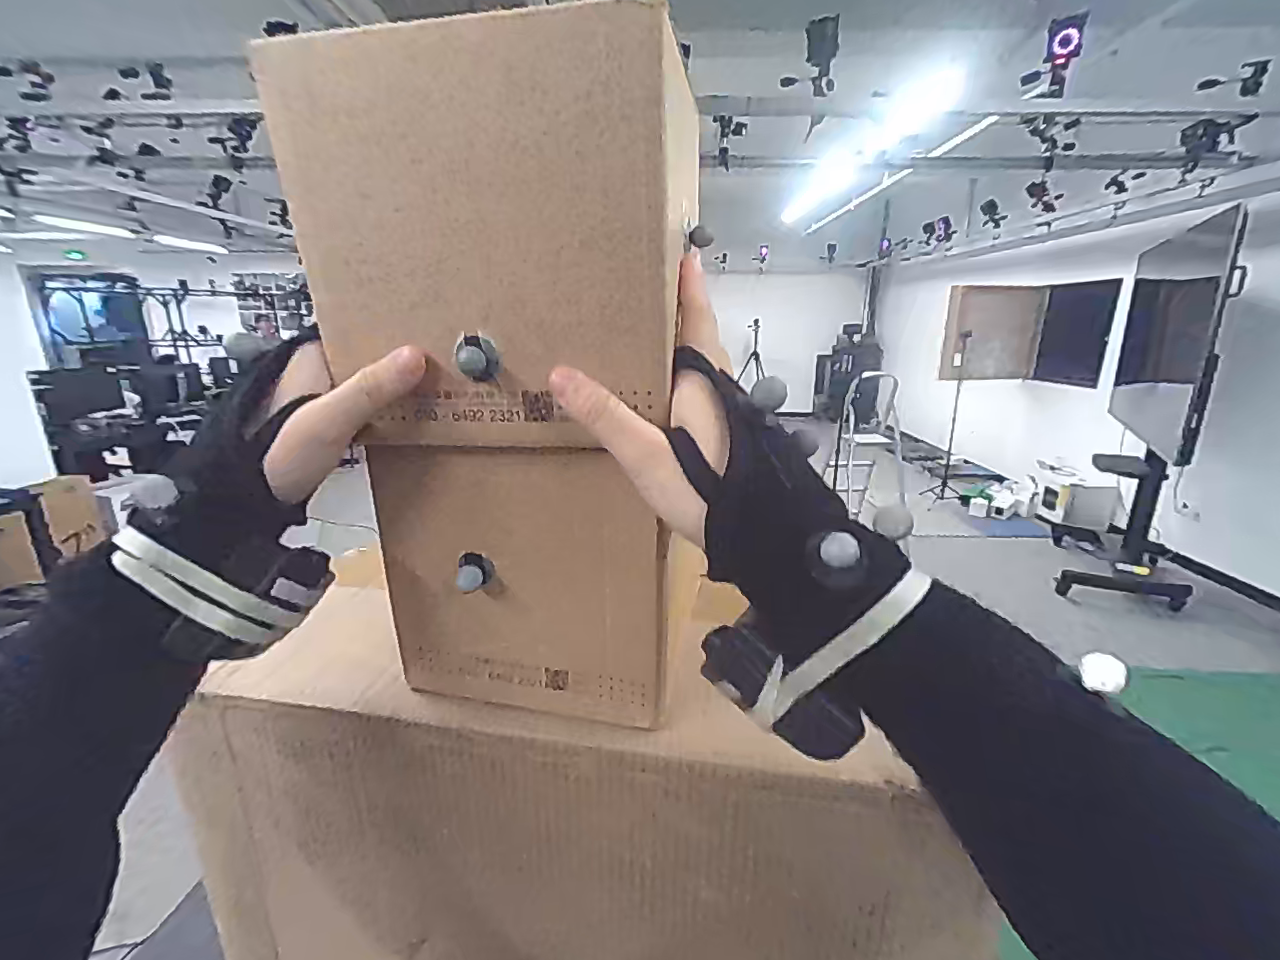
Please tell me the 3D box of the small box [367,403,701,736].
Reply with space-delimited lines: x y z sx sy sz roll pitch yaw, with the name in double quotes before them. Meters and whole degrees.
"small box" -0.050 0.044 0.377 0.168 0.176 0.179 4 17 12
